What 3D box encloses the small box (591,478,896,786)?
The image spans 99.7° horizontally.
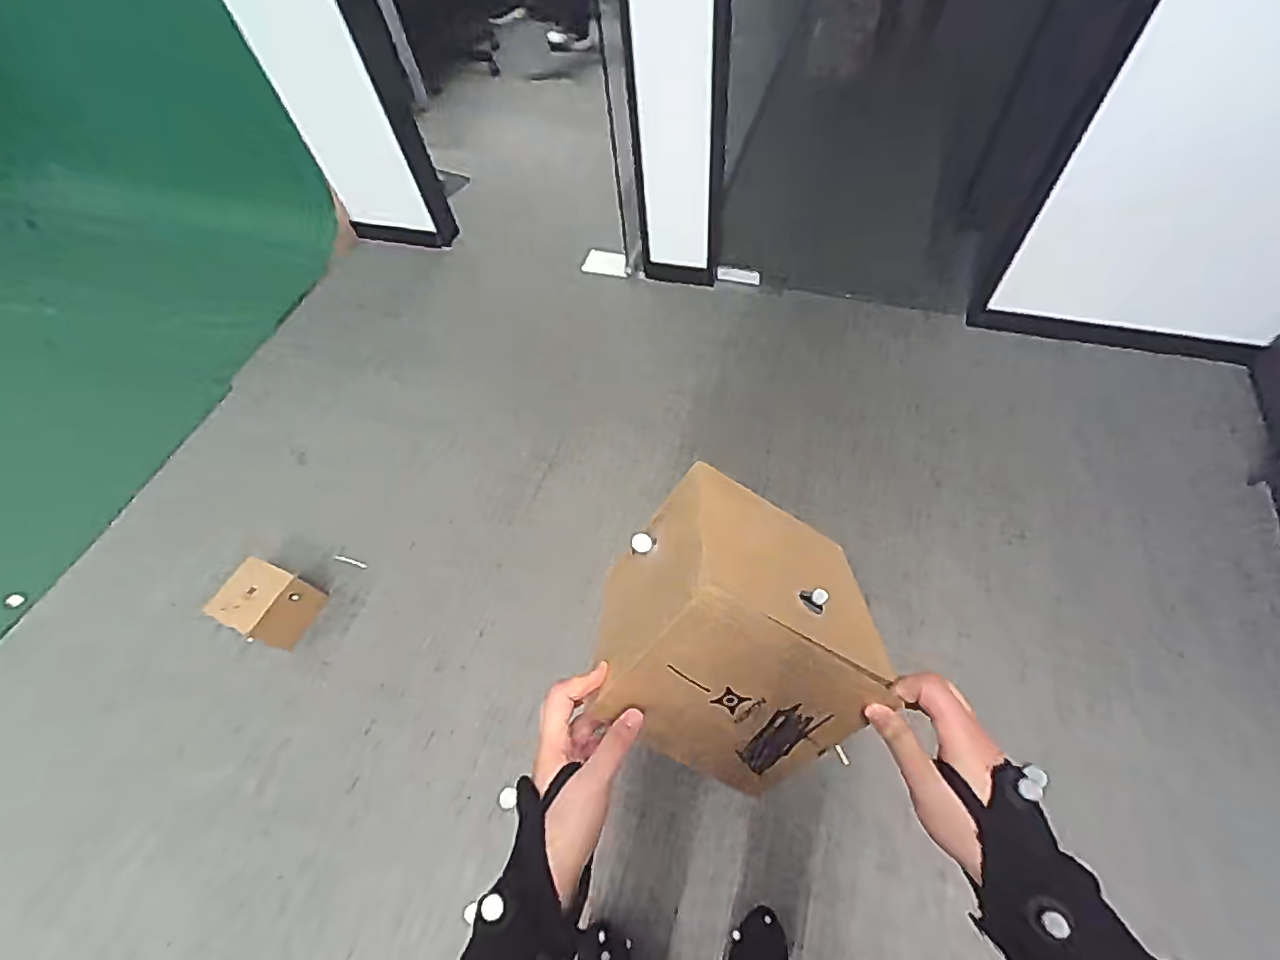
[{"bbox_3d":[0.080,0.126,0.481,0.179,0.168,0.176,31,27,-14],"label":"small box"}]

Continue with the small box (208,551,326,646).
[{"bbox_3d":[-1.004,0.327,1.479,0.168,0.176,0.179,19,62,16],"label":"small box"}]
